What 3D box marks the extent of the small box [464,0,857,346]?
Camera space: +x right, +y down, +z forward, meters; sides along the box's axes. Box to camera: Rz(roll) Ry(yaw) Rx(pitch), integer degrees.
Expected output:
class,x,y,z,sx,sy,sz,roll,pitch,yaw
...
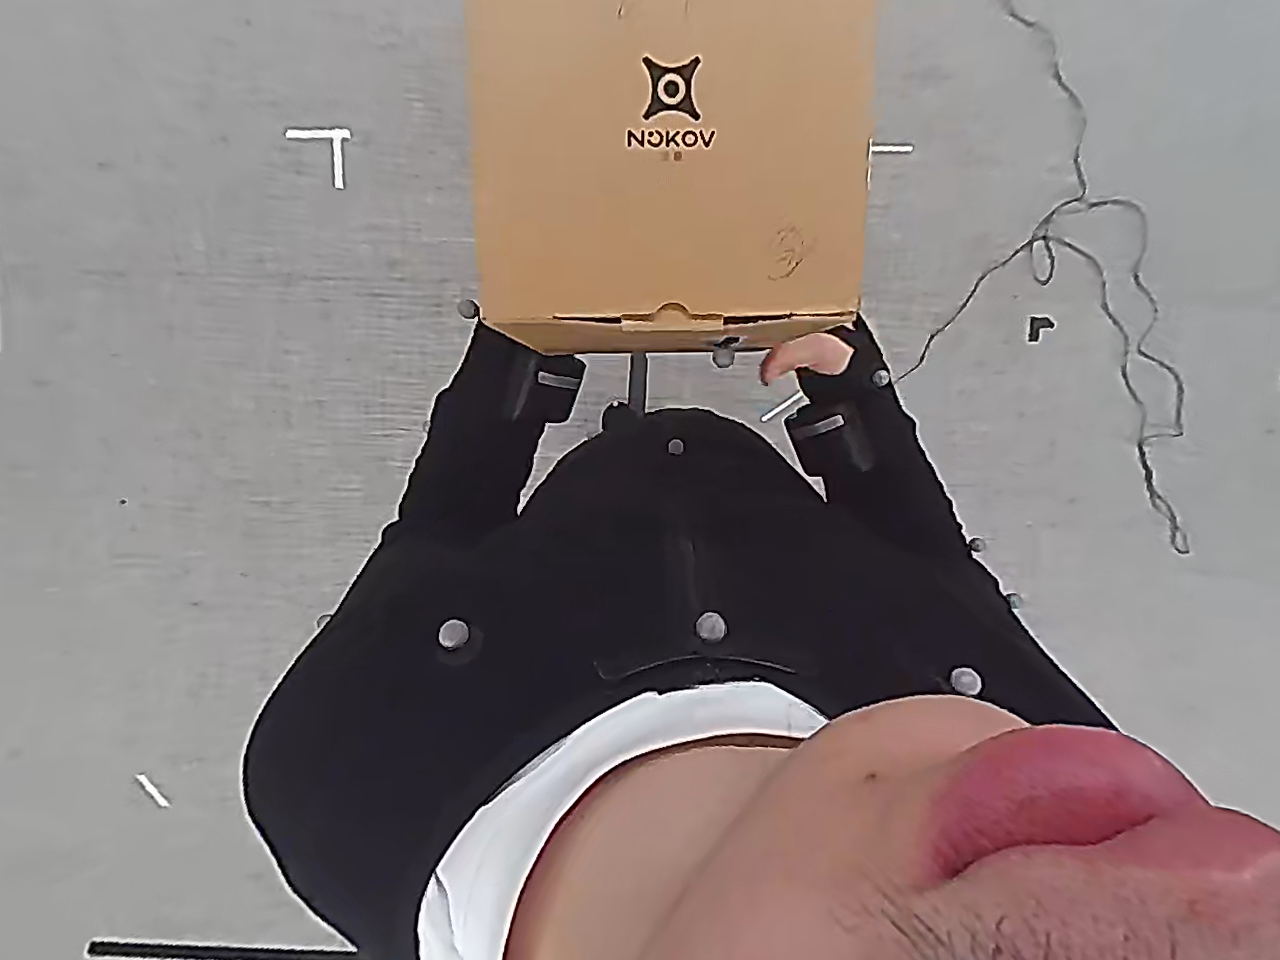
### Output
class,x,y,z,sx,sy,sz,roll,pitch,yaw
small box,0.007,-0.170,0.310,0.168,0.176,0.179,-1,99,-2
